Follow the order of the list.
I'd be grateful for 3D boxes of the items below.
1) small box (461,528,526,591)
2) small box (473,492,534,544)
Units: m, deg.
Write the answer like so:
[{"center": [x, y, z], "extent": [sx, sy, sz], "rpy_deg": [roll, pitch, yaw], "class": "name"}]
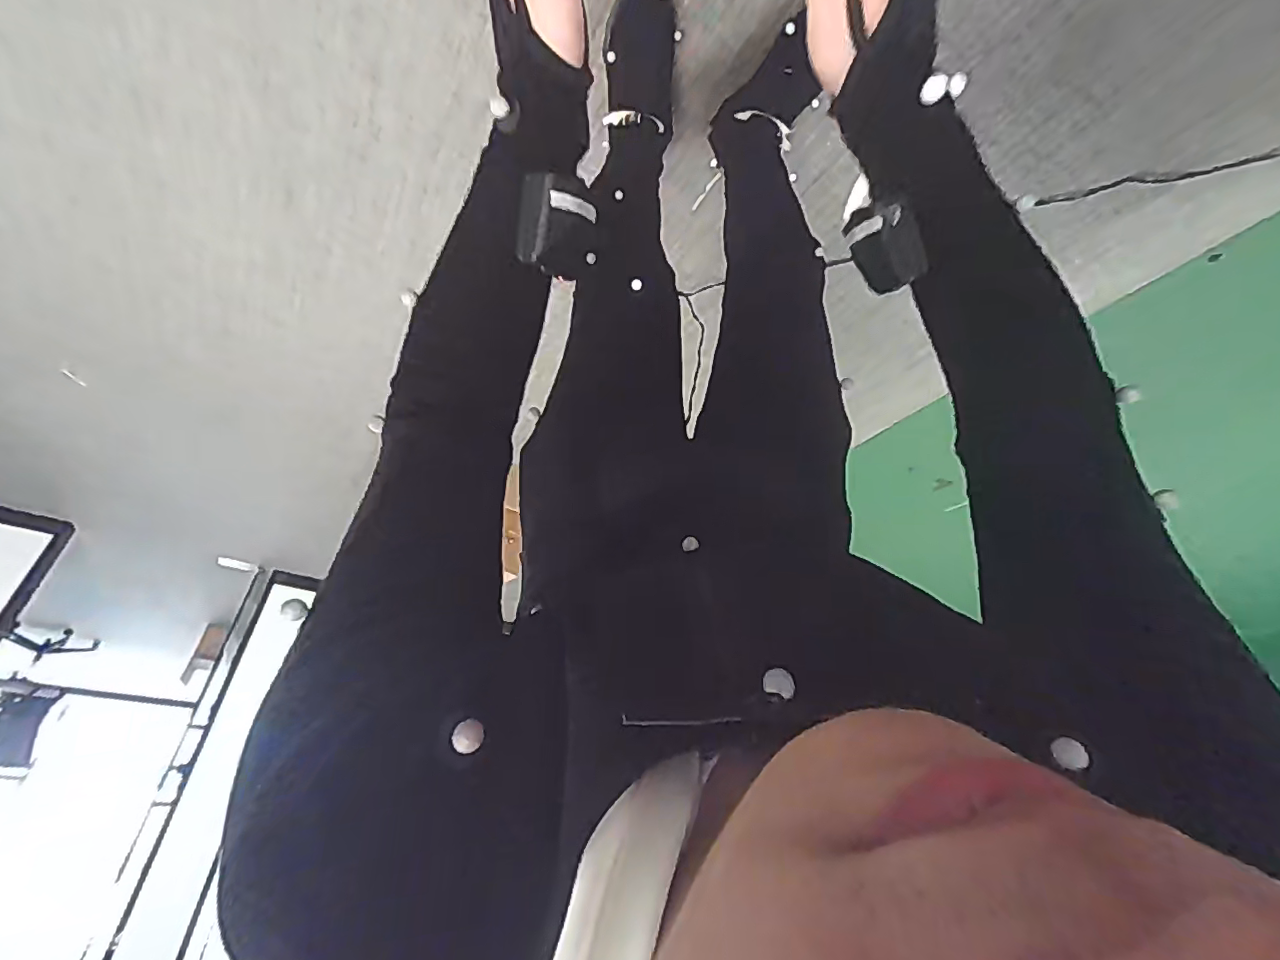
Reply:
[{"center": [-0.567, 0.311, 2.109], "extent": [0.168, 0.176, 0.179], "rpy_deg": [31, 137, -31], "class": "small box"}, {"center": [-0.549, 0.176, 2.199], "extent": [0.168, 0.176, 0.179], "rpy_deg": [29, 138, -28], "class": "small box"}]
